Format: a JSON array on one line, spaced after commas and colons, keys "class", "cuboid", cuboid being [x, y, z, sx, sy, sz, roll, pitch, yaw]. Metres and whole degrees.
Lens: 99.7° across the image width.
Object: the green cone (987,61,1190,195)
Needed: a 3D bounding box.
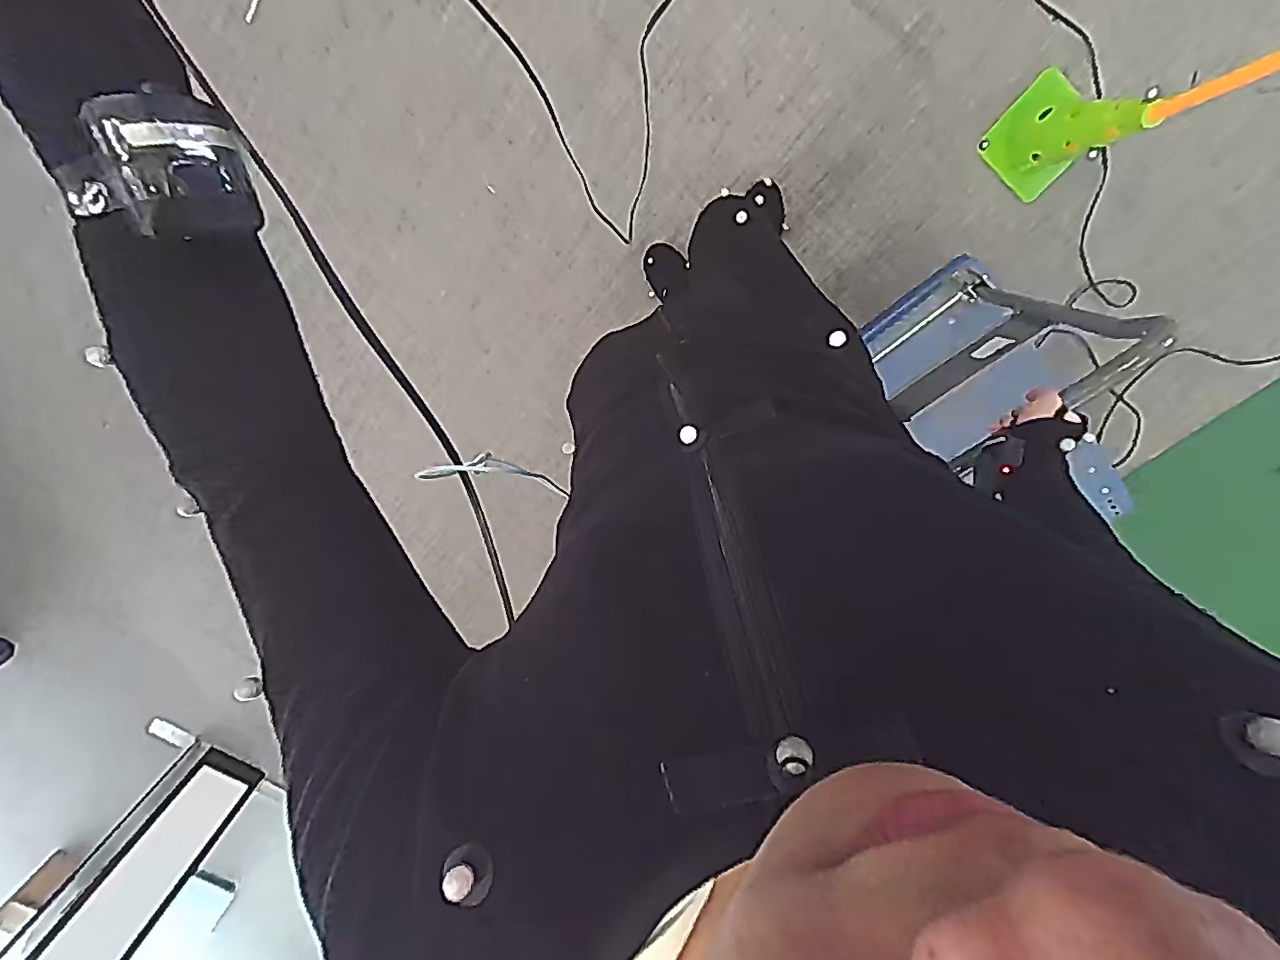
[{"class": "green cone", "cuboid": [0.904, -0.707, 1.061, 0.200, 0.368, 0.202, 35, 114, -13]}]
